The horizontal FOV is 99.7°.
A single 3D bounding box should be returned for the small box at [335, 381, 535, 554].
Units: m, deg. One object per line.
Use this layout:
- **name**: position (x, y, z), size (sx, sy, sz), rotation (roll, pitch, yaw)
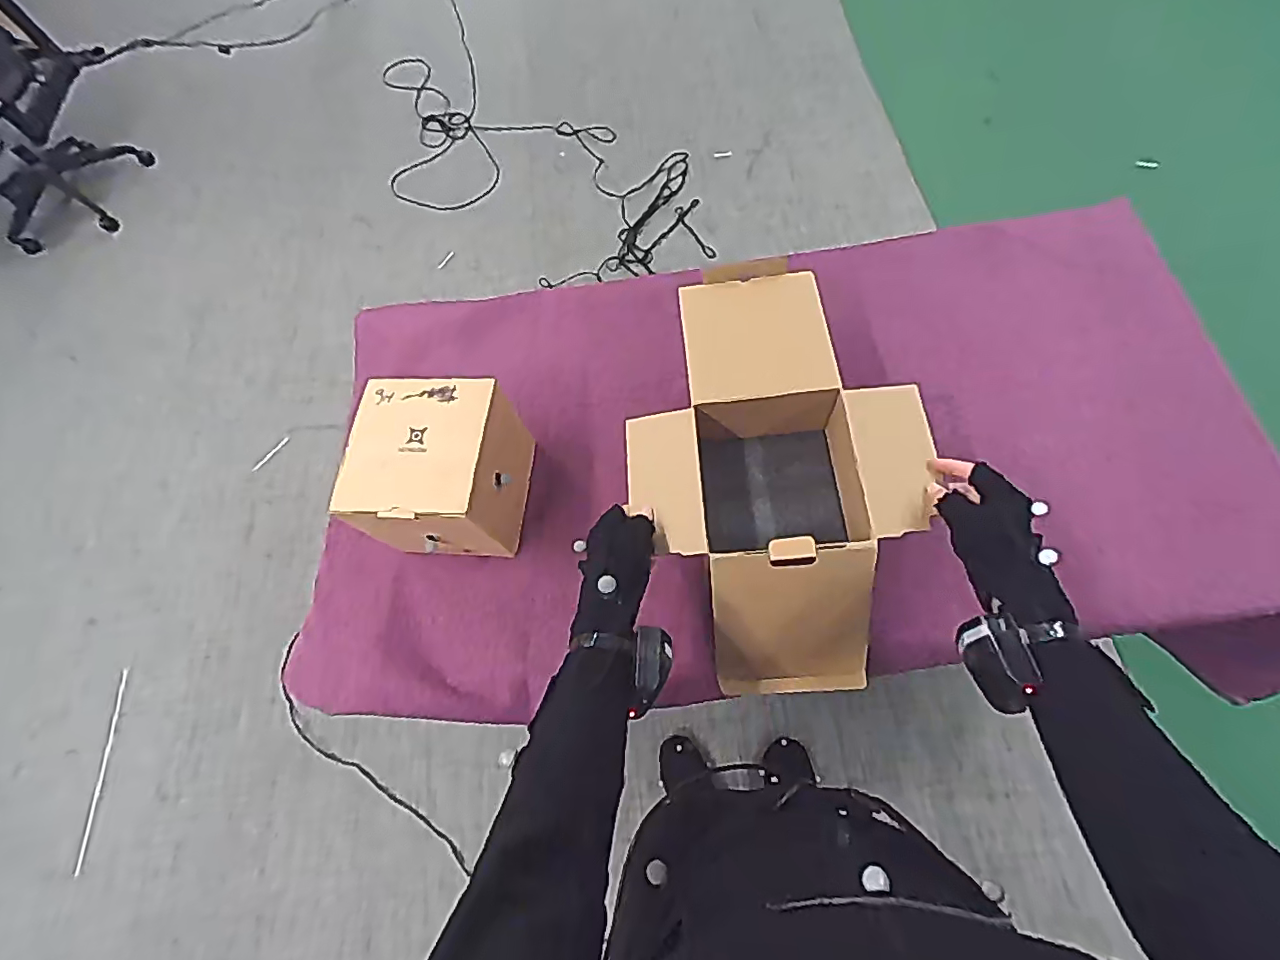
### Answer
- **small box**: position (-0.244, -0.009, 0.694), size (0.168, 0.176, 0.179), rotation (2, 68, 8)
